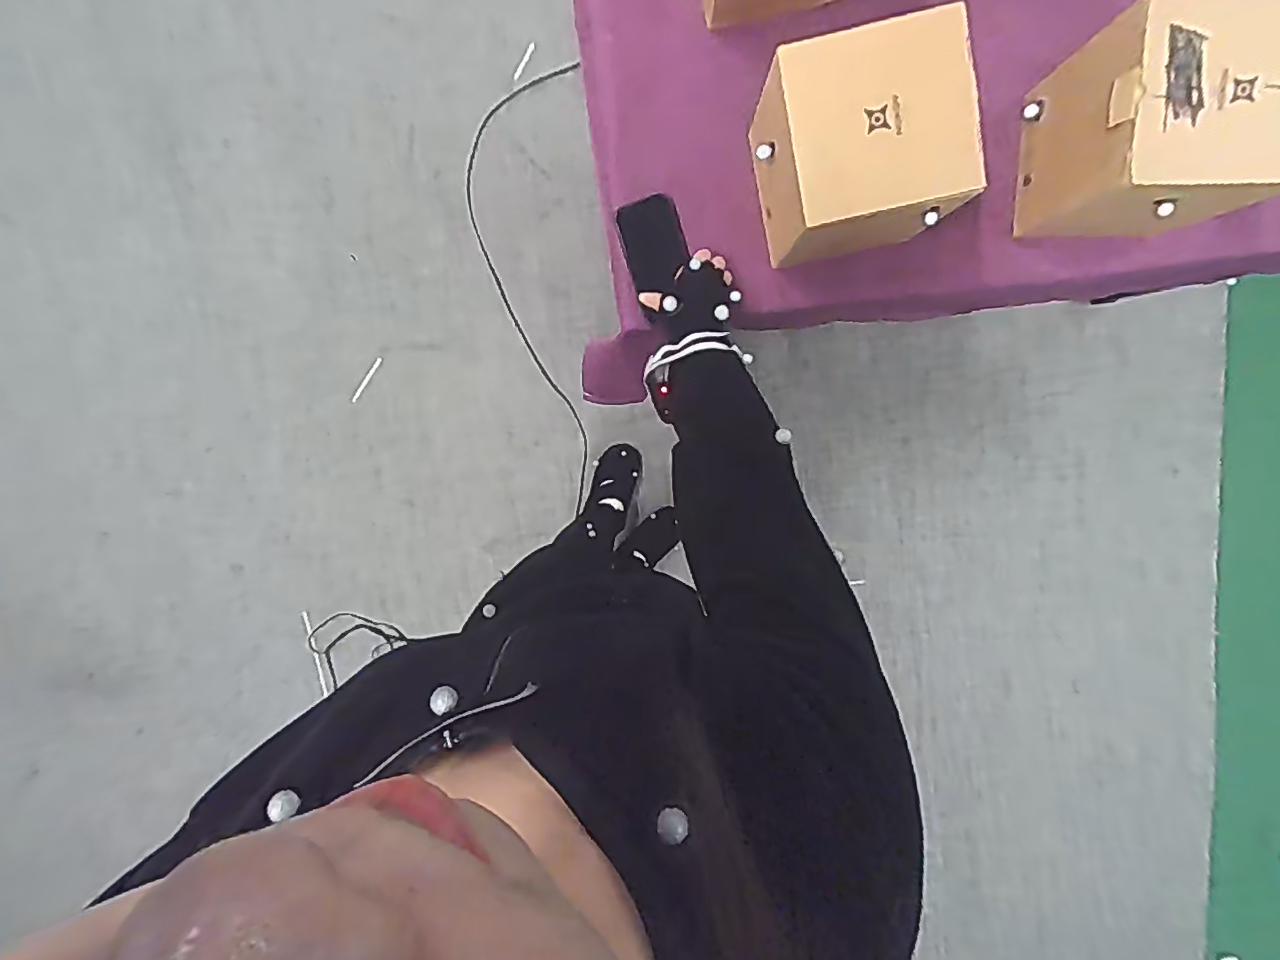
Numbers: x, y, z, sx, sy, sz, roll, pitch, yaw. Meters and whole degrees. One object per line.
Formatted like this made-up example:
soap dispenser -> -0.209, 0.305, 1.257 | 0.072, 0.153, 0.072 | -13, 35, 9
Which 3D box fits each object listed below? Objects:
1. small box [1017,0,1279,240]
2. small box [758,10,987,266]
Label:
small box -> 0.548, -0.366, 0.580 | 0.179, 0.176, 0.168 | 0, 99, 1
small box -> 0.235, -0.350, 0.592 | 0.179, 0.176, 0.168 | -12, 98, 2
